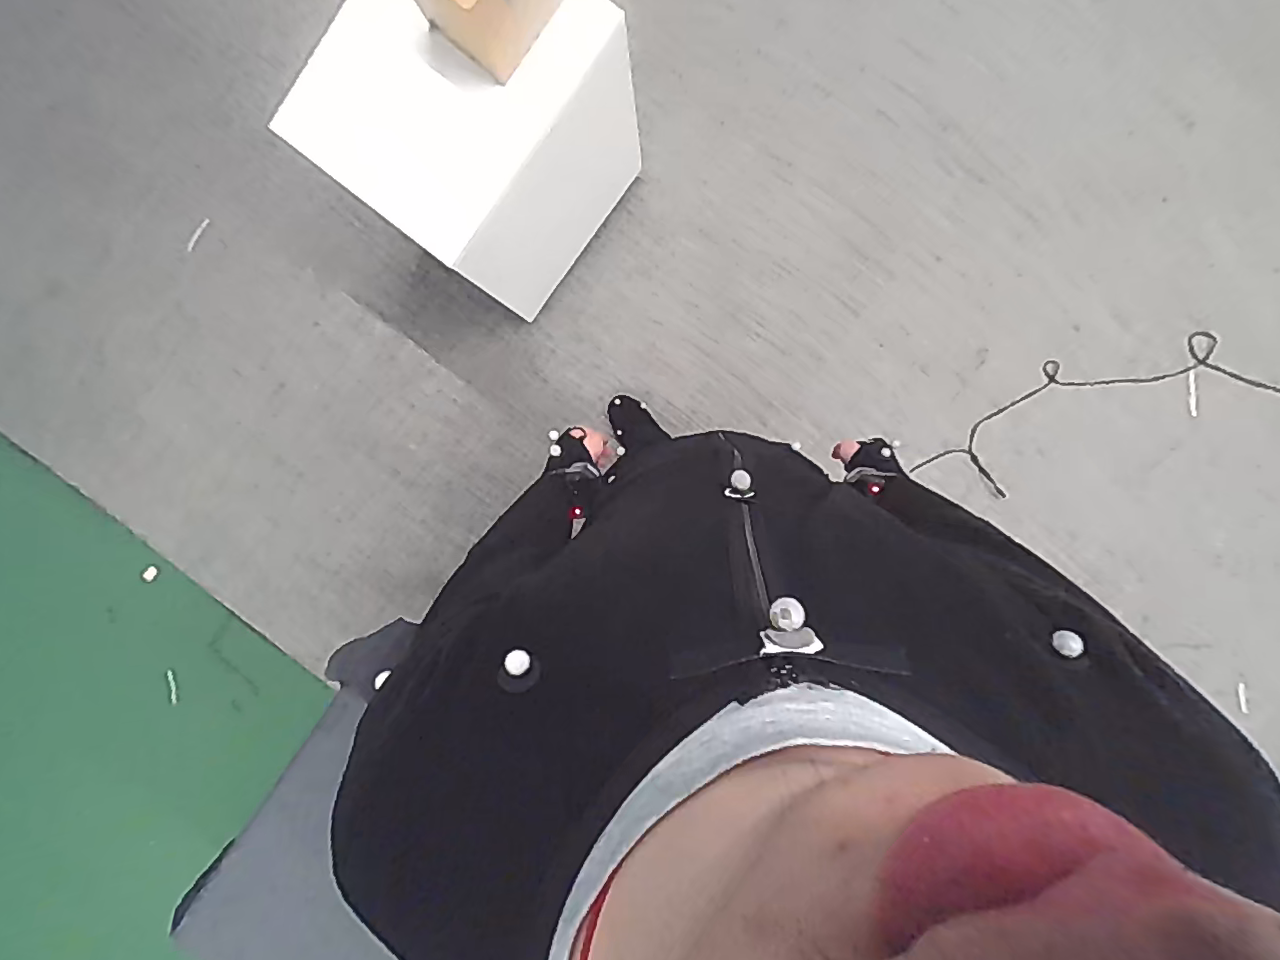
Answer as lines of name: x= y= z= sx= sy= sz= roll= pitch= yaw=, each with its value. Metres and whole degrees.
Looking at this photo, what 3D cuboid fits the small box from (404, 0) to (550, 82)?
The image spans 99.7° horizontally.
small box: x=-0.251 y=-0.747 z=0.792 sx=0.168 sy=0.176 sz=0.179 roll=37 pitch=94 yaw=-3
